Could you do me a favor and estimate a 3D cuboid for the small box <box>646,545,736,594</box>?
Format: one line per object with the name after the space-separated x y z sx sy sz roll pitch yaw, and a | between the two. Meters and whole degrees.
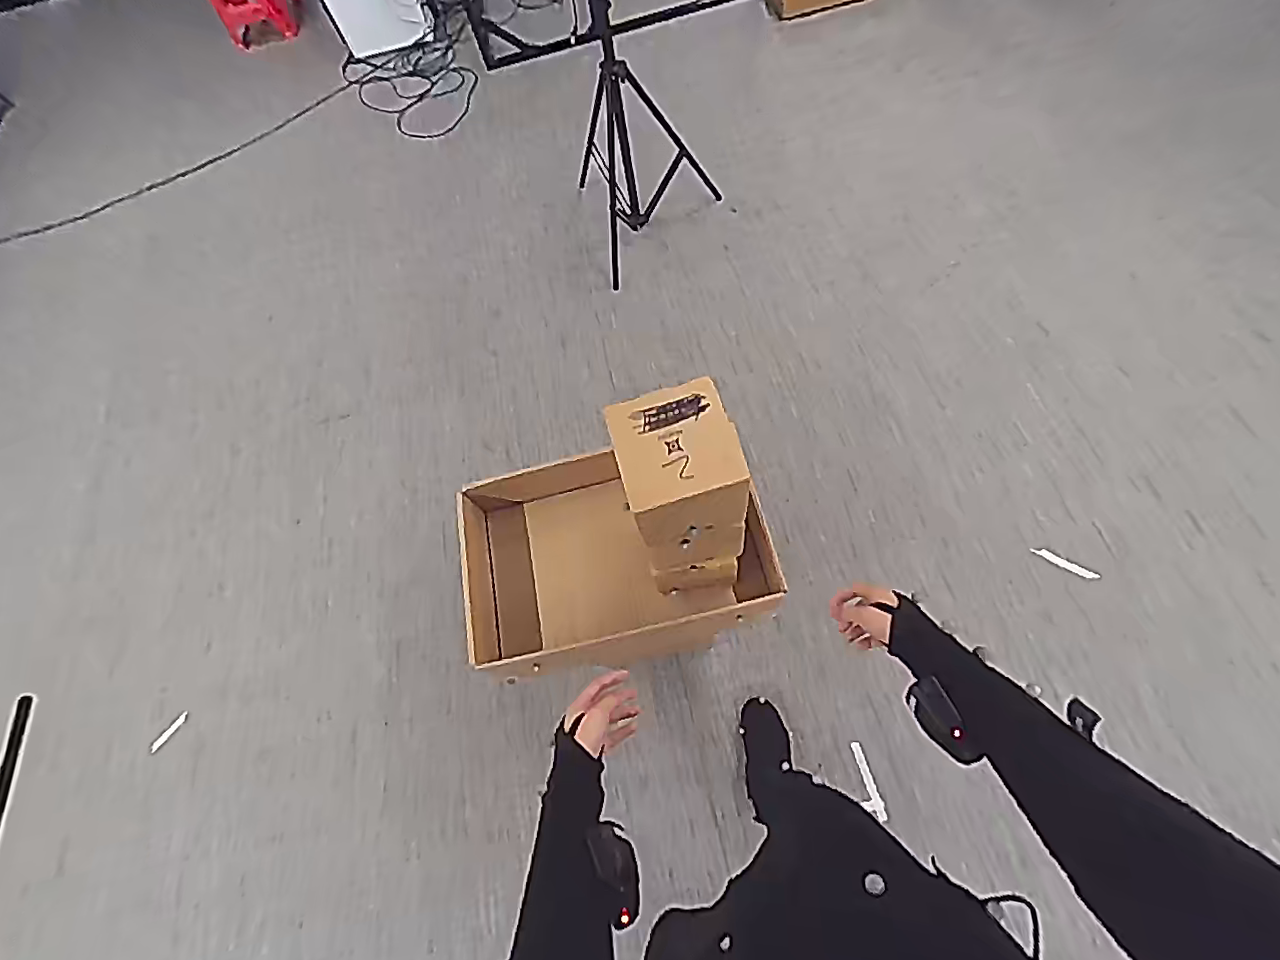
0.102 0.128 1.108 0.168 0.176 0.179 -8 64 4 | small box

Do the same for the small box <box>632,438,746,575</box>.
0.086 0.052 0.963 0.168 0.176 0.179 -12 64 4 | small box
